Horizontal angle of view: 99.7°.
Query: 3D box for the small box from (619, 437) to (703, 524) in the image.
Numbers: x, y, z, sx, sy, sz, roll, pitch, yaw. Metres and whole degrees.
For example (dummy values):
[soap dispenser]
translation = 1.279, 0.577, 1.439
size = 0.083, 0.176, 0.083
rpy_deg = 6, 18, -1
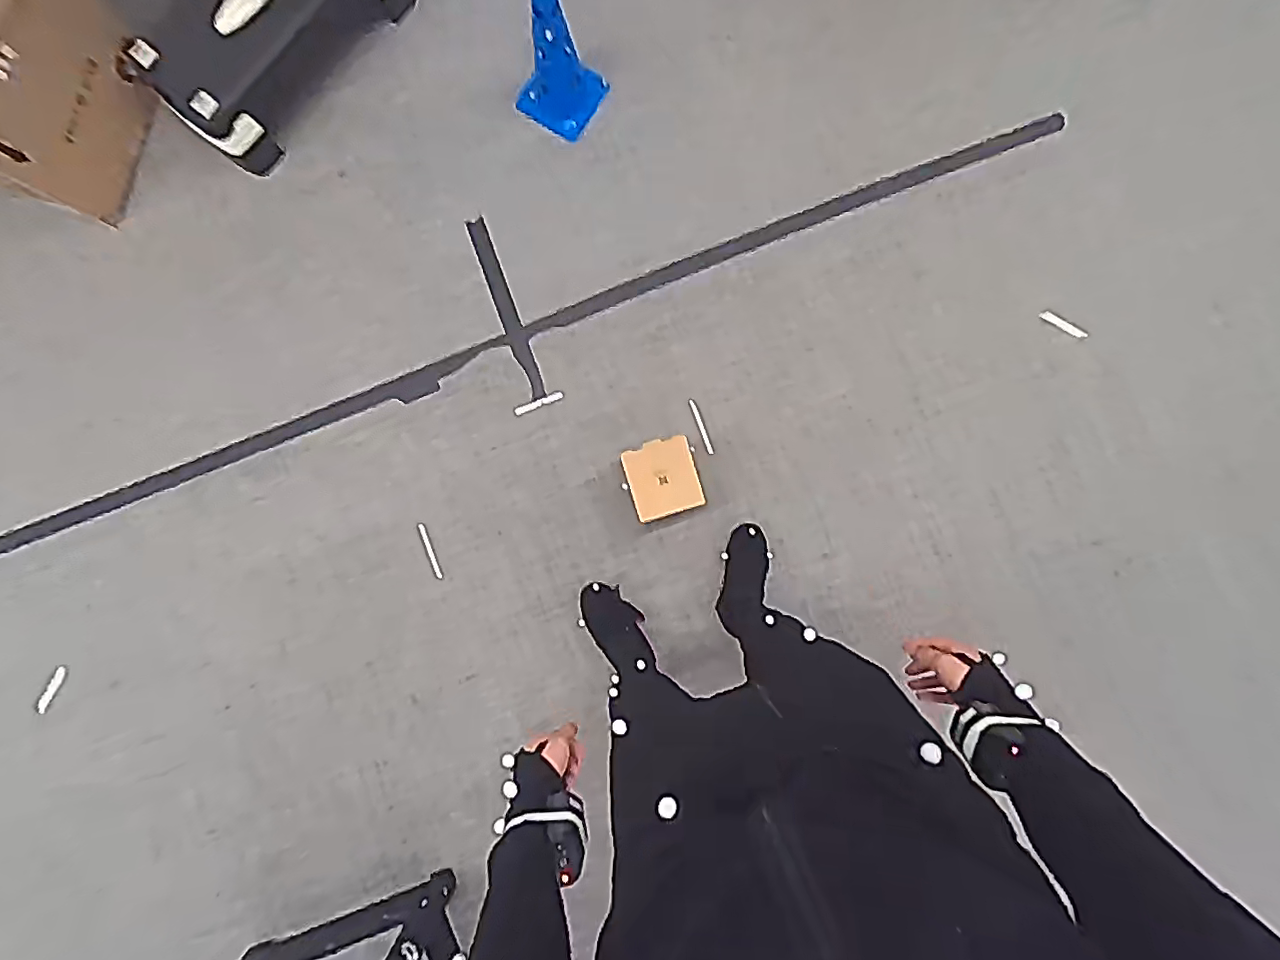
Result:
[small box]
translation = 0.053, 0.001, 1.372
size = 0.168, 0.176, 0.179
rpy_deg = -17, 88, 0
